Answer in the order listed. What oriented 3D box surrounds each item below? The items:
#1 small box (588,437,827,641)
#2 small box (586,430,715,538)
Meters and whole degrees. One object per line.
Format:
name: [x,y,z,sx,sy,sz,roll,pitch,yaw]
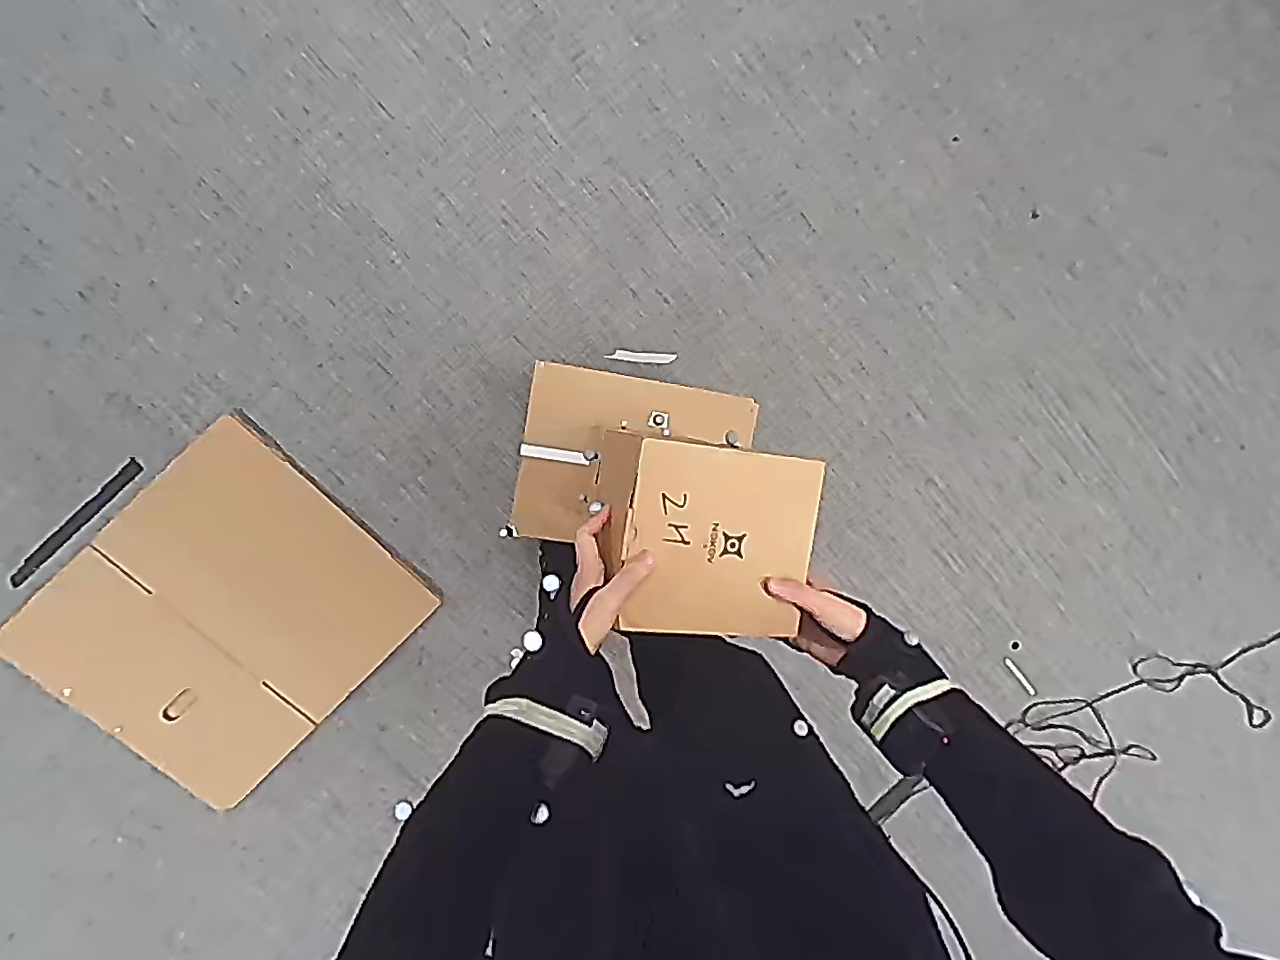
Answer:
small box: [0.055,0.049,0.545,0.179,0.176,0.168,7,94,-15]
small box: [0.007,0.009,0.884,0.179,0.176,0.168,6,96,-9]
